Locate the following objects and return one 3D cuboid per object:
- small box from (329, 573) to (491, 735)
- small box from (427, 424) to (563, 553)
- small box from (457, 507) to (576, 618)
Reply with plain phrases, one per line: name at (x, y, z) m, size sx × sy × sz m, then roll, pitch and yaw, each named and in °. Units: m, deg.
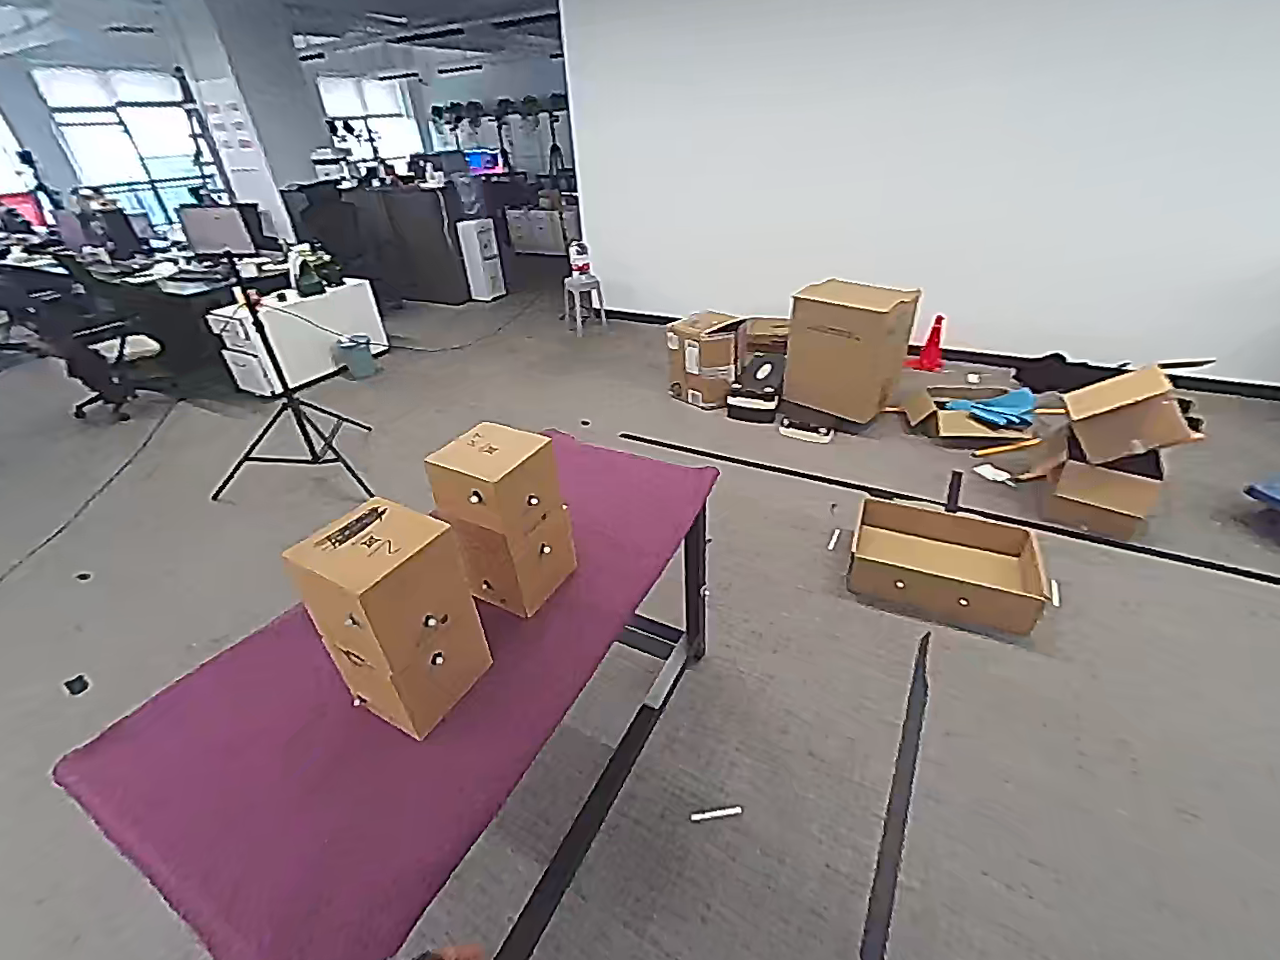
small box at (-0.380, 0.296, 0.926) m, size 0.168 × 0.176 × 0.179 m, roll 15°, pitch 37°, yaw 25°
small box at (-0.268, 0.016, 1.044) m, size 0.179 × 0.176 × 0.168 m, roll 15°, pitch 38°, yaw 26°
small box at (-0.249, 0.152, 1.135) m, size 0.168 × 0.176 × 0.179 m, roll 15°, pitch 38°, yaw 26°
